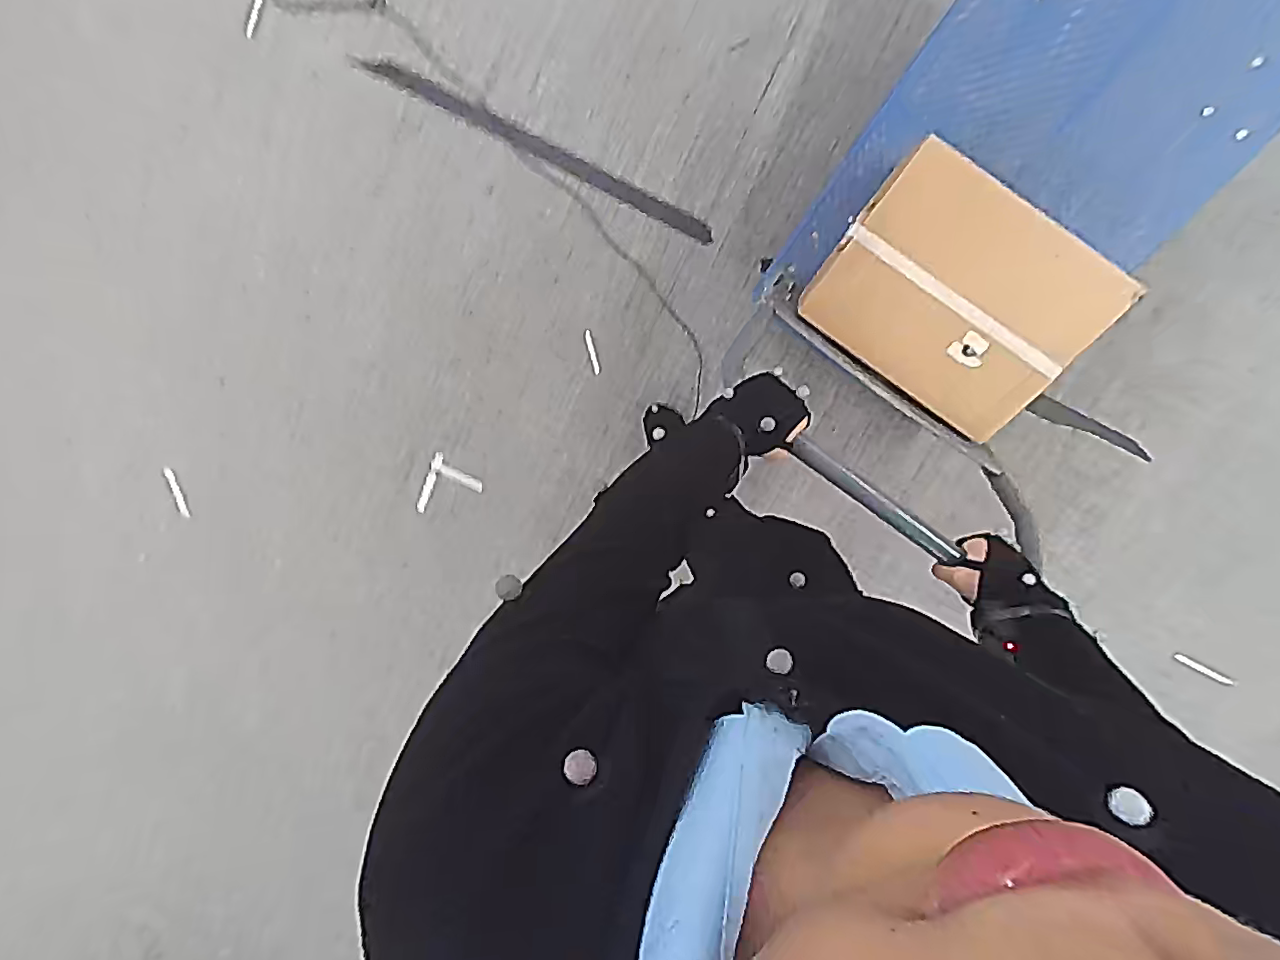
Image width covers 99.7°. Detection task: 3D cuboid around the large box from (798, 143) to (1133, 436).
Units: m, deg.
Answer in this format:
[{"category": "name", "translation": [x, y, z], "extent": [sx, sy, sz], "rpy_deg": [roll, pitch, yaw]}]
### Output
[{"category": "large box", "translation": [0.557, -0.354, 1.029], "extent": [0.408, 0.320, 0.320], "rpy_deg": [36, 118, -1]}]
